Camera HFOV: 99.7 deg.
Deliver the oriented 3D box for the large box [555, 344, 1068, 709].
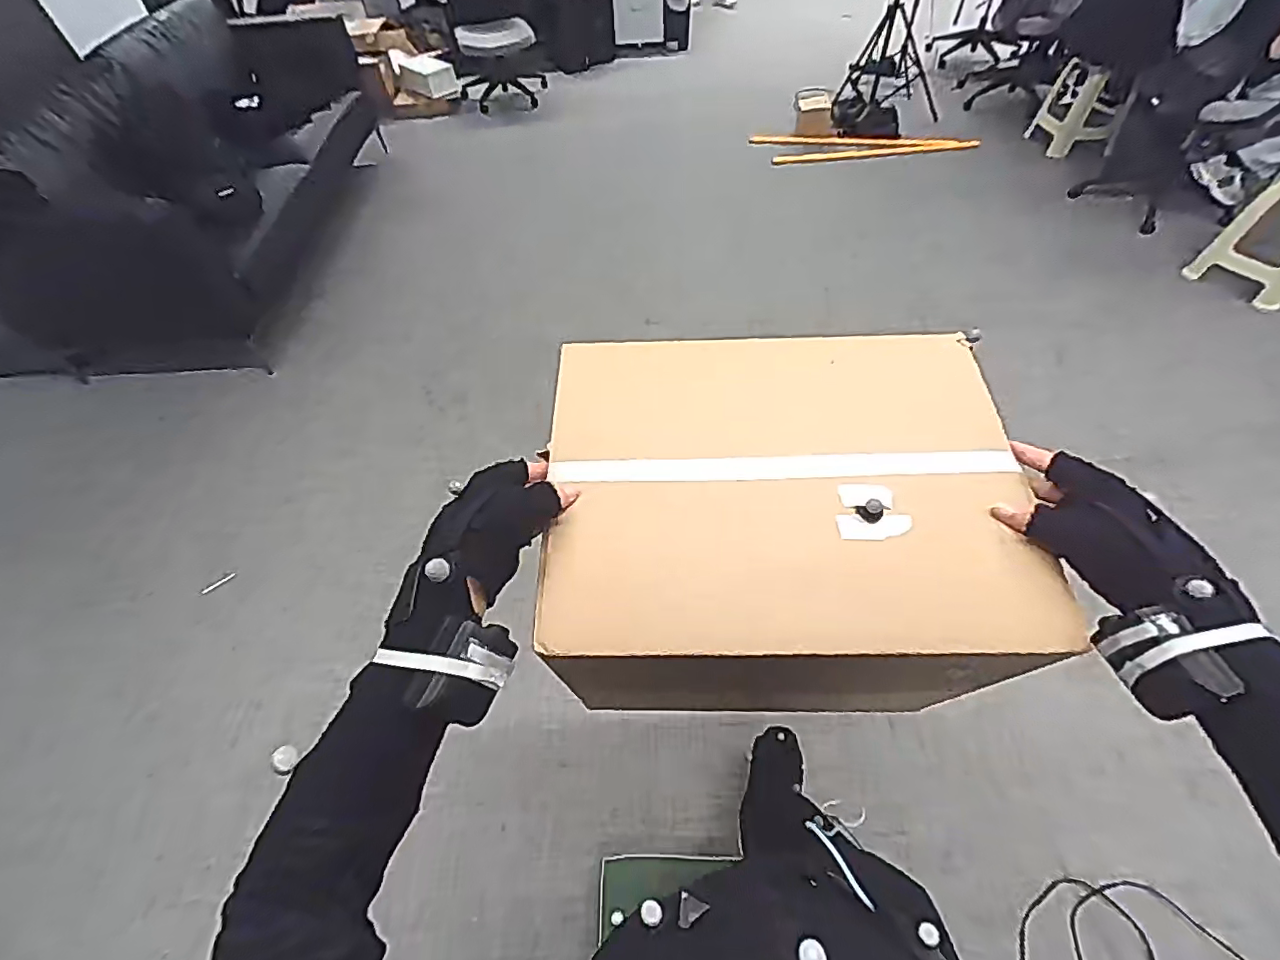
[{"bbox_3d":[0.131,0.070,0.617,0.408,0.320,0.320,-1,60,1],"label":"large box"}]
